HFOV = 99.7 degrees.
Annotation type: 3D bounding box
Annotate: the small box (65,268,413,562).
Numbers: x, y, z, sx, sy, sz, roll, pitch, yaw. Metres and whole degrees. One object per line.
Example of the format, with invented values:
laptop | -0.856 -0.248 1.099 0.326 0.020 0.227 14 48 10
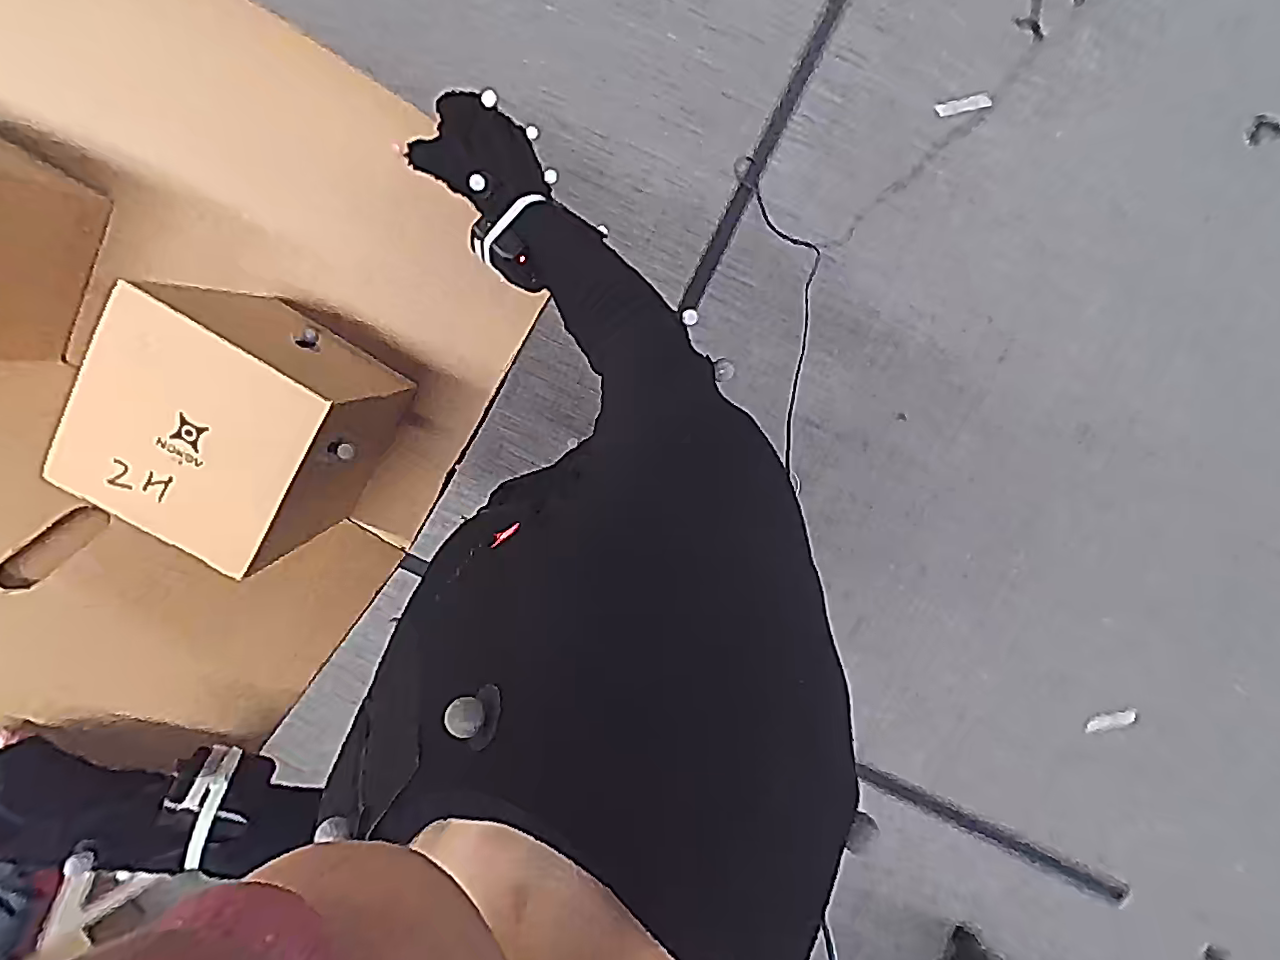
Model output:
small box | -0.339 -0.064 0.498 0.168 0.176 0.179 34 102 -8
